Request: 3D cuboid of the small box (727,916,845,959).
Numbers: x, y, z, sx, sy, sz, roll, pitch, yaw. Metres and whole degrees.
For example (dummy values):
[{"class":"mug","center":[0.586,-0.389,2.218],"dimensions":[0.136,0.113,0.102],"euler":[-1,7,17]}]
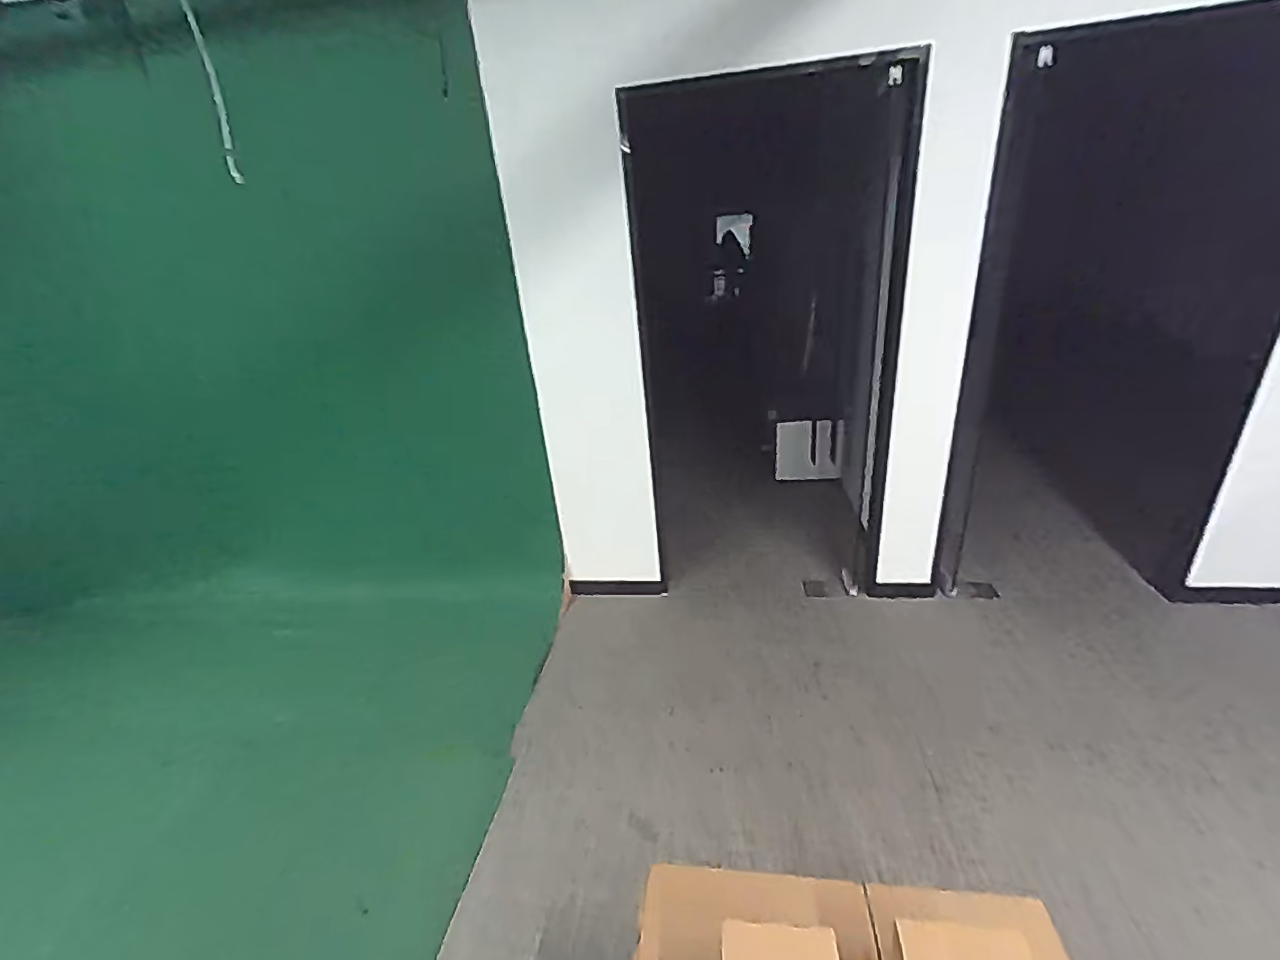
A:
[{"class":"small box","center":[0.208,0.763,0.755],"dimensions":[0.168,0.176,0.179],"euler":[-4,22,10]}]
